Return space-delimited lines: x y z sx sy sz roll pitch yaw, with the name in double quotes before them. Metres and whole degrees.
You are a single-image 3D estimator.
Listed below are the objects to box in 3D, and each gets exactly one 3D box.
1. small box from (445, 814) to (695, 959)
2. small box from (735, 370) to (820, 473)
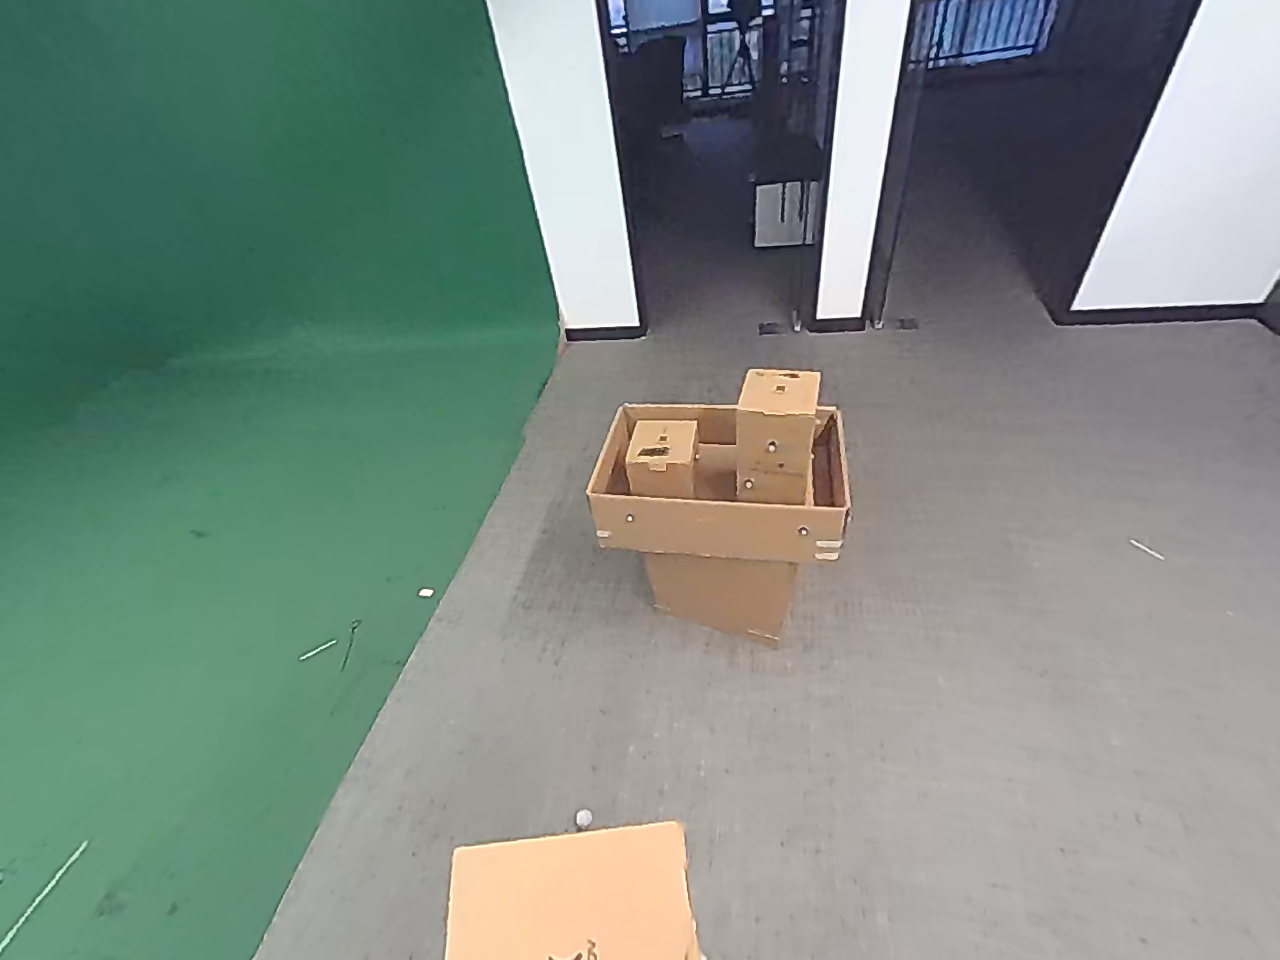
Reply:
"small box" -0.048 0.380 0.436 0.179 0.176 0.168 -5 55 -3
"small box" 0.321 -0.134 1.256 0.168 0.176 0.179 7 45 18
